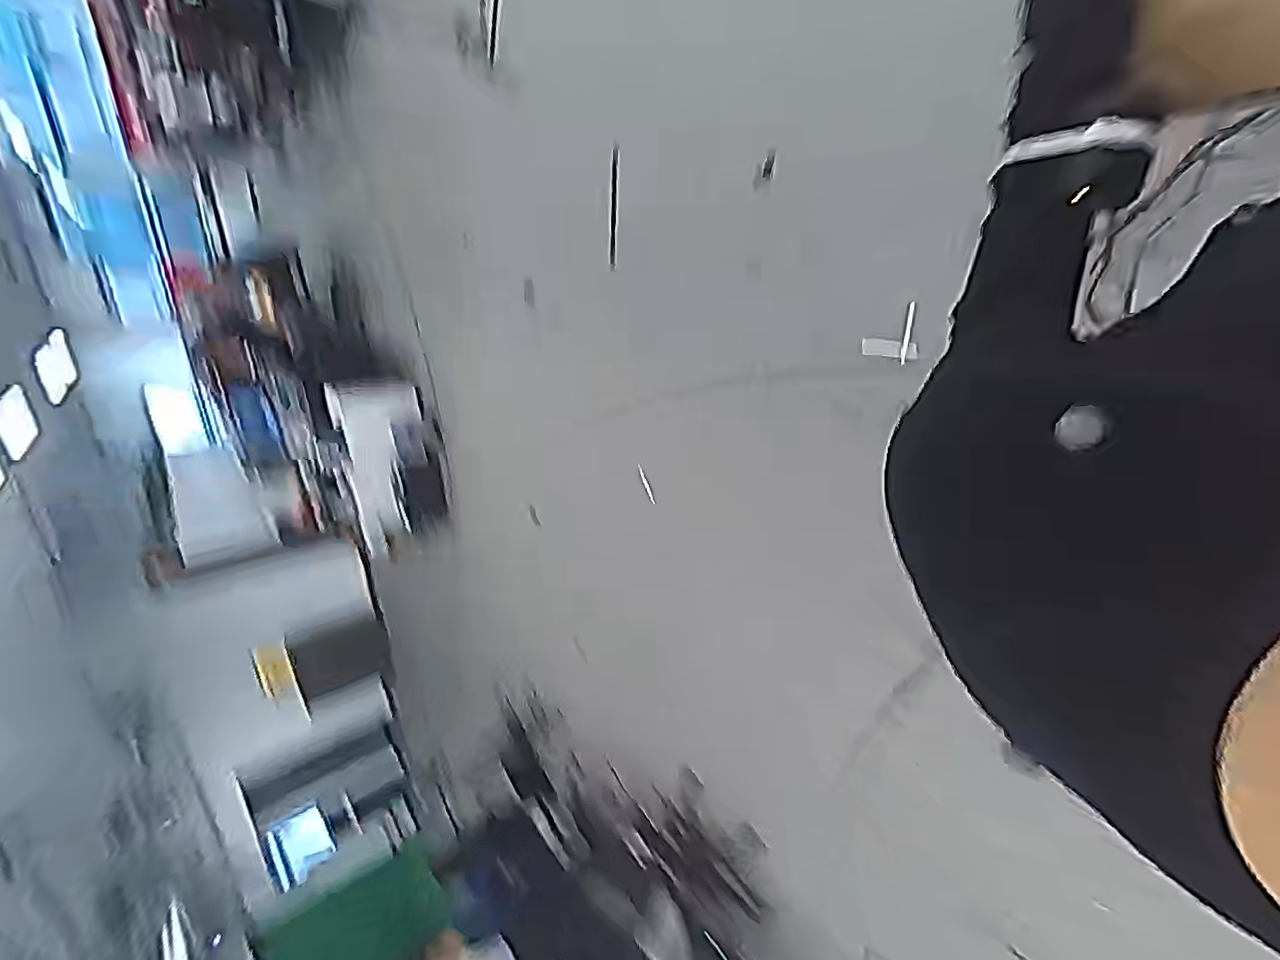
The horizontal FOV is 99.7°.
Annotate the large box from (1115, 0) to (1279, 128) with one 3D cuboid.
[{"bbox_3d":[0.575,-0.433,0.308,0.408,0.320,0.320,14,124,43],"label":"large box"}]
